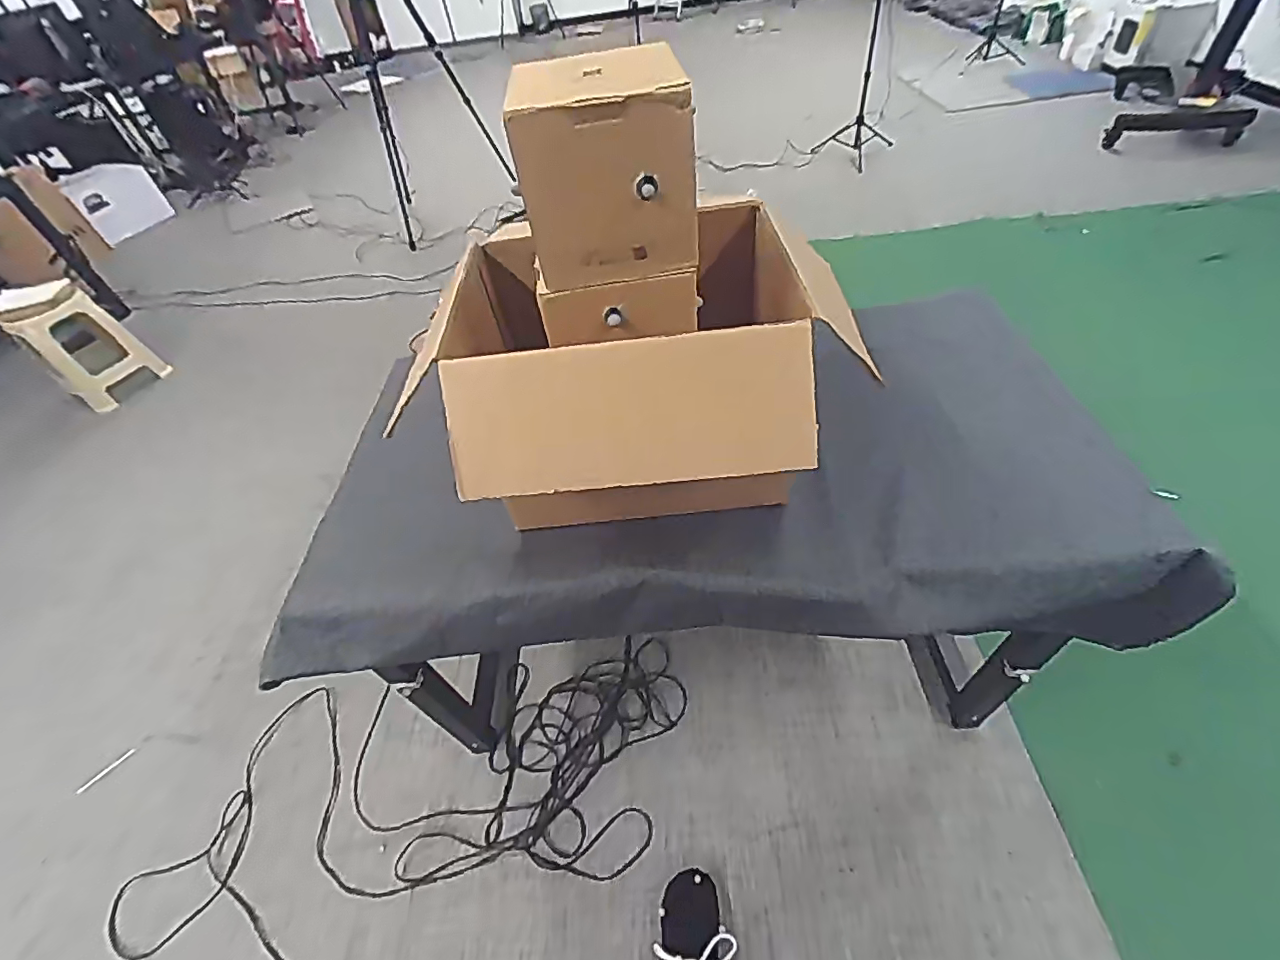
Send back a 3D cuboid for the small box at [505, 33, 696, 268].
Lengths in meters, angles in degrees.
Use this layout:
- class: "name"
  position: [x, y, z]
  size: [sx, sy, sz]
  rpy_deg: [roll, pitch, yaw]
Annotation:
- class: "small box"
  position: [-0.034, -0.339, 0.570]
  size: [0.168, 0.176, 0.179]
  rpy_deg: [-8, 48, 0]
